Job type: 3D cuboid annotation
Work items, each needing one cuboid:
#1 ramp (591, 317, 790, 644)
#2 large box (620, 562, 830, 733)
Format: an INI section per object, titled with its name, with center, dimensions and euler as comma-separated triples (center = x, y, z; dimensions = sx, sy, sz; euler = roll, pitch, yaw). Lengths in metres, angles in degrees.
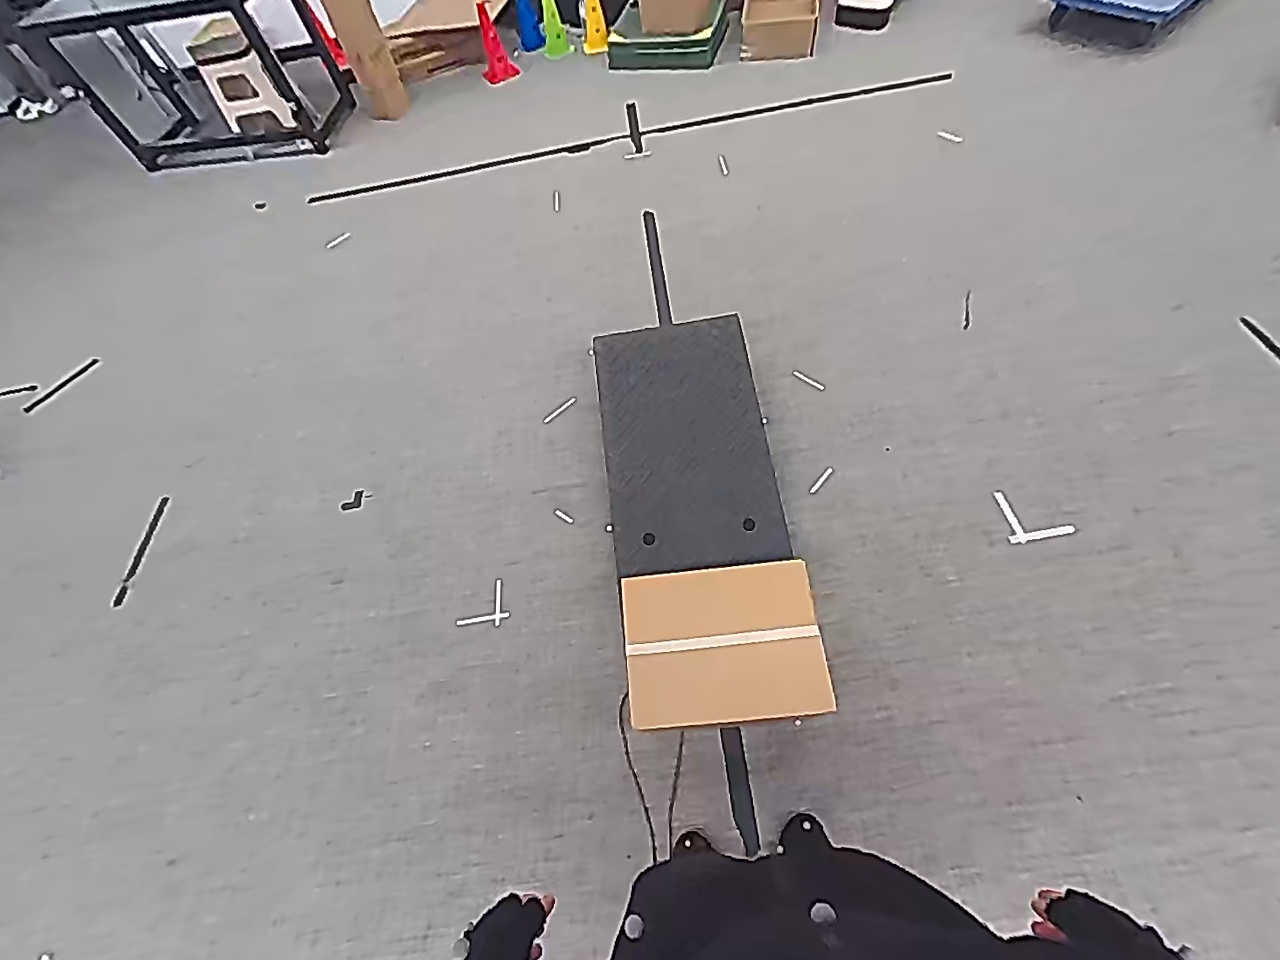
[ramp]
center = 0.135, -0.045, 1.620
dimensions = 0.509, 0.206, 0.991
euler = -9, 59, 1
[large box]
center = 0.180, 0.405, 1.266
dimensions = 0.408, 0.320, 0.320
euler = -7, 63, 3
